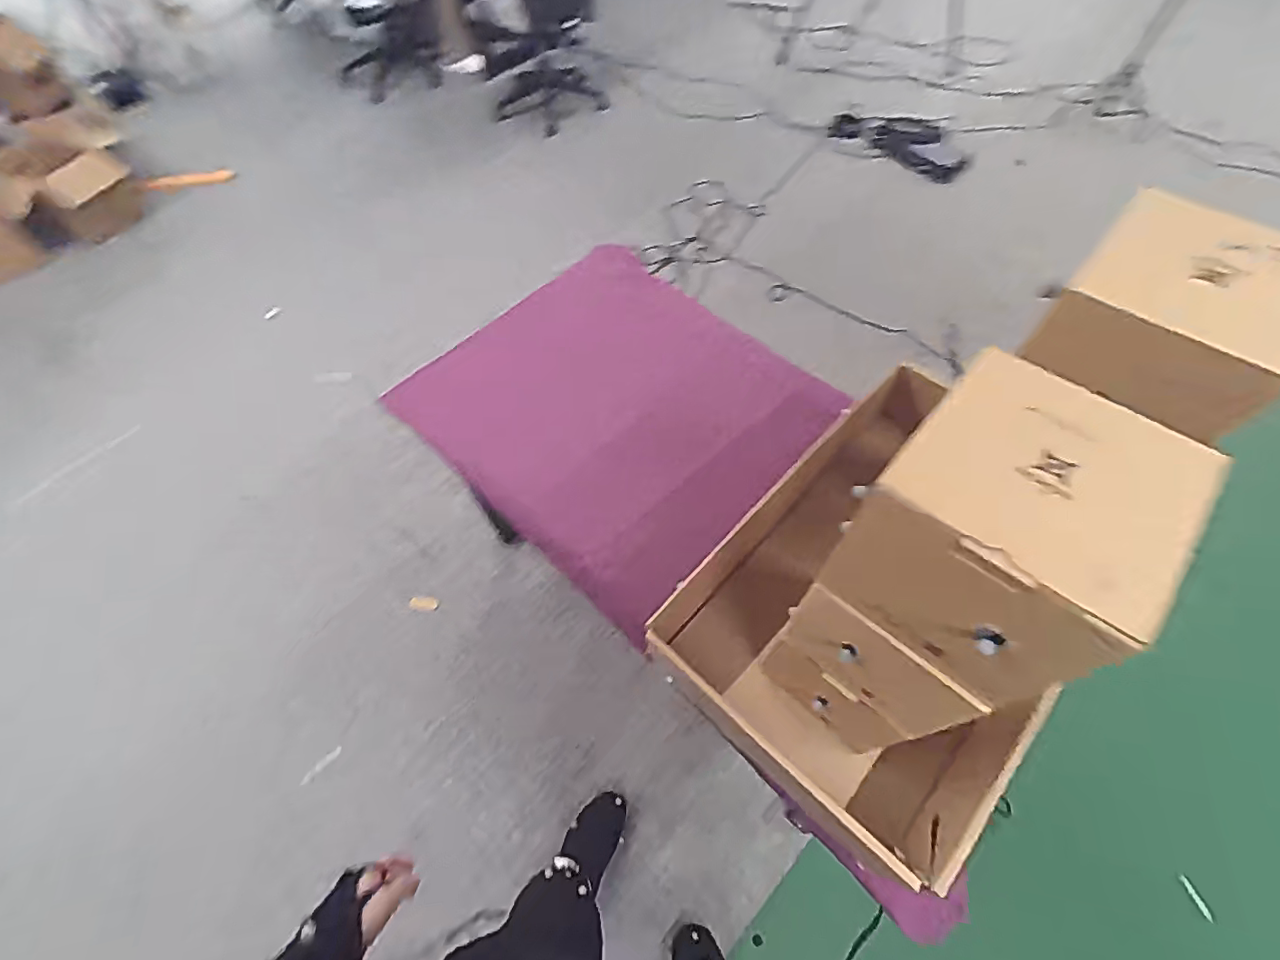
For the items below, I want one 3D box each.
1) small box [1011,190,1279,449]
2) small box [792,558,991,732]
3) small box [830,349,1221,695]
[{"bbox_3d":[0.471,-0.125,0.507,0.168,0.176,0.179,39,70,22],"label":"small box"},{"bbox_3d":[0.278,0.130,0.562,0.168,0.176,0.179,38,66,23],"label":"small box"},{"bbox_3d":[0.274,0.039,0.427,0.168,0.176,0.179,38,65,22],"label":"small box"}]
